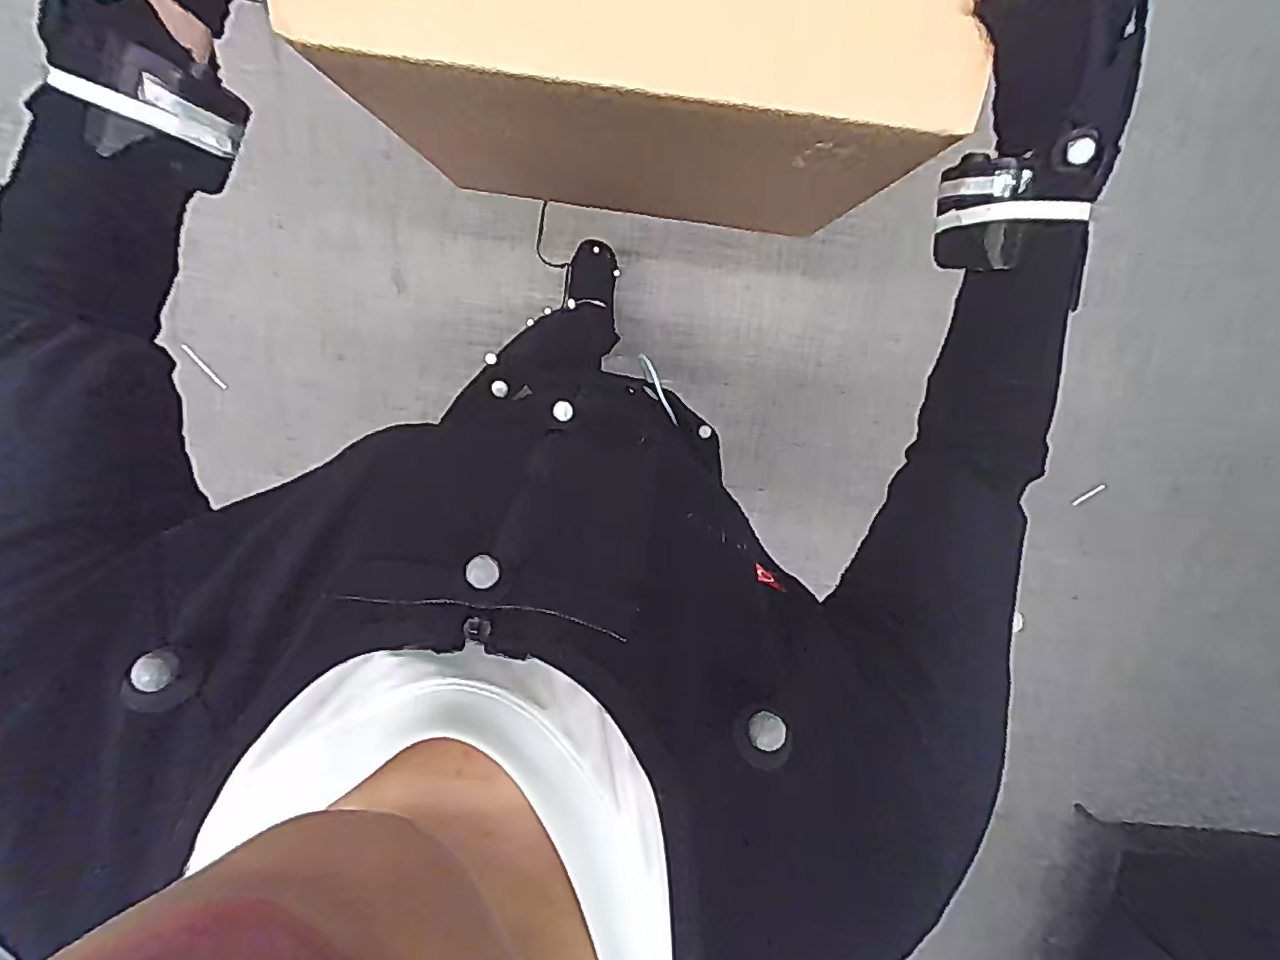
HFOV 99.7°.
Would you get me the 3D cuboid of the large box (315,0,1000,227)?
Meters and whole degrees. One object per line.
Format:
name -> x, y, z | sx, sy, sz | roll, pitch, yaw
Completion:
large box -> 0.020, -0.418, 0.431 | 0.408, 0.320, 0.320 | 6, 104, -3
